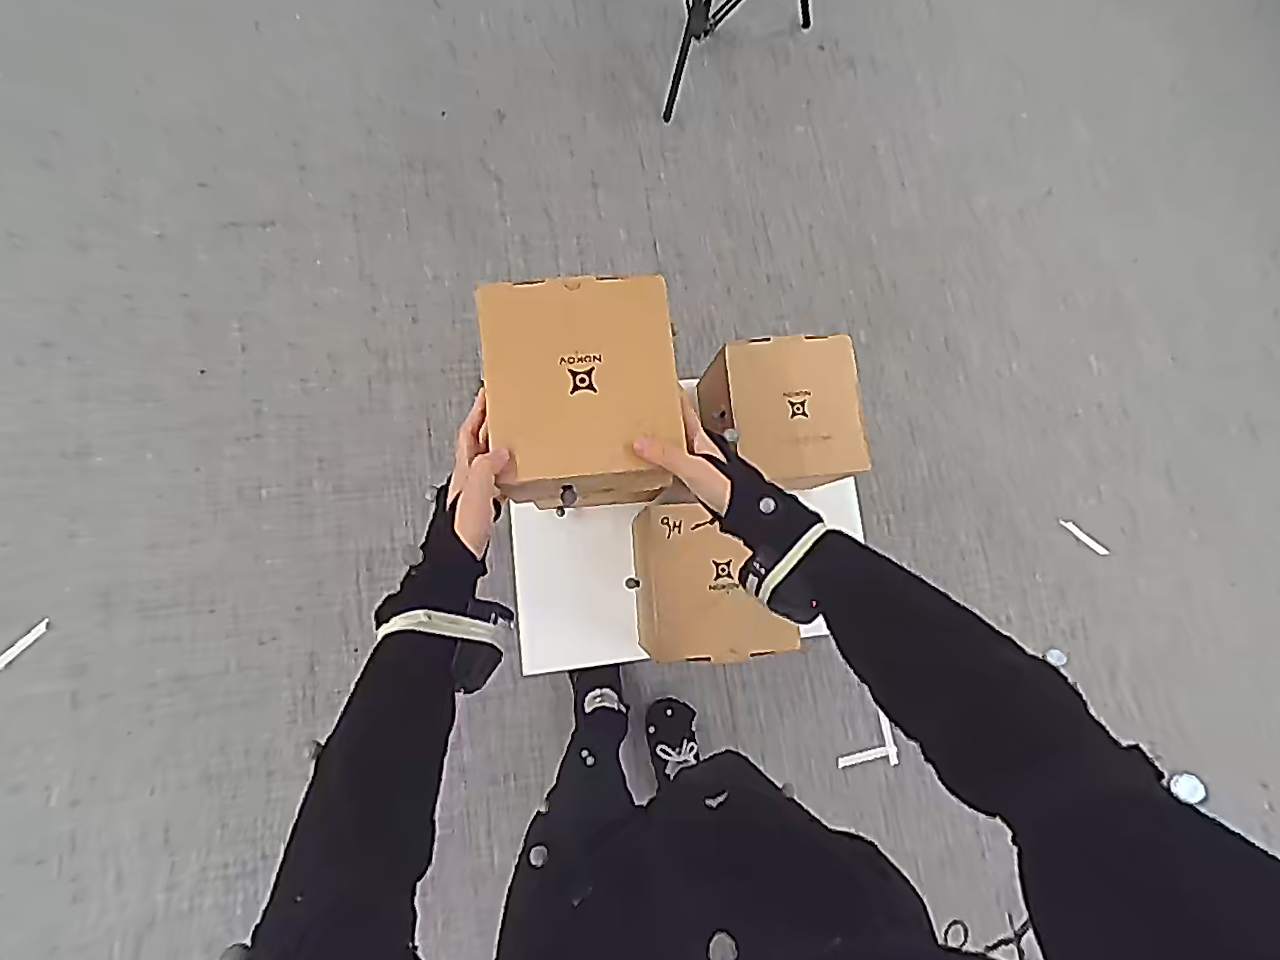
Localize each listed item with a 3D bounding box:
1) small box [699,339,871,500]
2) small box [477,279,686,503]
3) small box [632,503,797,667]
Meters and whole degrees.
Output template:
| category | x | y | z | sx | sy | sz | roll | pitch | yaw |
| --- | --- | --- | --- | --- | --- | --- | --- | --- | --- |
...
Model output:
| category | x | y | z | sx | sy | sz | roll | pitch | yaw |
| --- | --- | --- | --- | --- | --- | --- | --- | --- | --- |
| small box | 0.182 | -0.074 | 0.733 | 0.168 | 0.176 | 0.179 | -6 | 83 | -6 |
| small box | -0.058 | -0.073 | 0.536 | 0.168 | 0.176 | 0.179 | -6 | 82 | -8 |
| small box | 0.082 | 0.126 | 0.685 | 0.168 | 0.176 | 0.179 | -3 | 81 | -8 |
